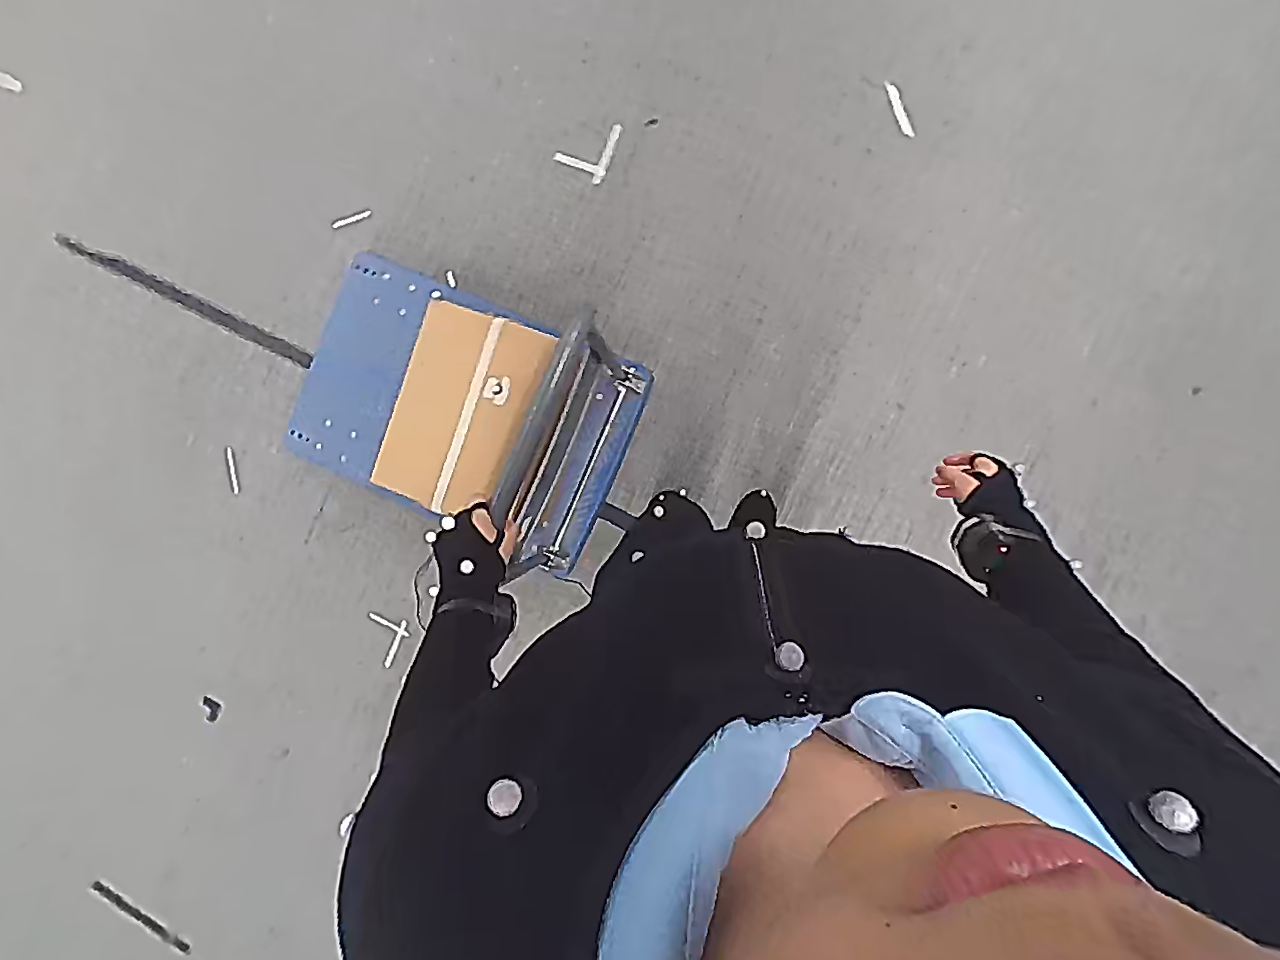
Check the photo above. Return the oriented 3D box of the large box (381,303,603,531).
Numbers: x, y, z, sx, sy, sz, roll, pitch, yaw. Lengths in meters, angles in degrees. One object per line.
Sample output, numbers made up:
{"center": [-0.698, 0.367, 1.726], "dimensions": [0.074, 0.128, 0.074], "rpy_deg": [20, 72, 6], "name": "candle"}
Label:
{"center": [-0.315, -0.126, 1.243], "dimensions": [0.320, 0.320, 0.408], "rpy_deg": [20, 91, 6], "name": "large box"}
